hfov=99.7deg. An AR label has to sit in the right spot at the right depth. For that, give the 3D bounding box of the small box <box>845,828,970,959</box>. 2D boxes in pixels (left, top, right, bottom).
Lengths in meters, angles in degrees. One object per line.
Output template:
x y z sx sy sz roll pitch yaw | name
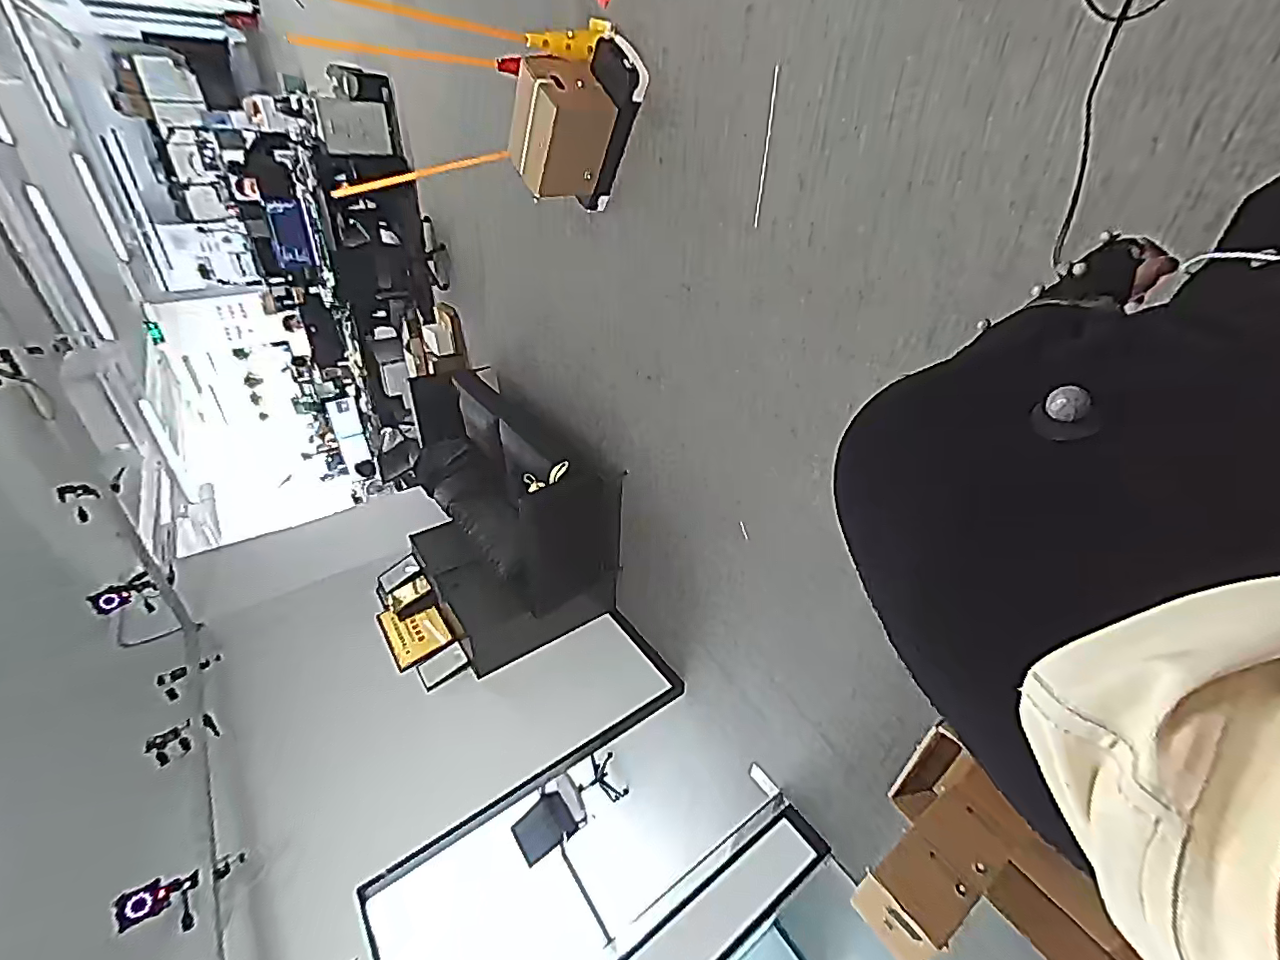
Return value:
0.598 0.929 1.208 0.168 0.176 0.179 41 140 41 | small box

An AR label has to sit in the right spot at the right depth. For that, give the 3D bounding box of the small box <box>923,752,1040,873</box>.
0.867 0.839 1.373 0.168 0.176 0.179 42 139 40 | small box
